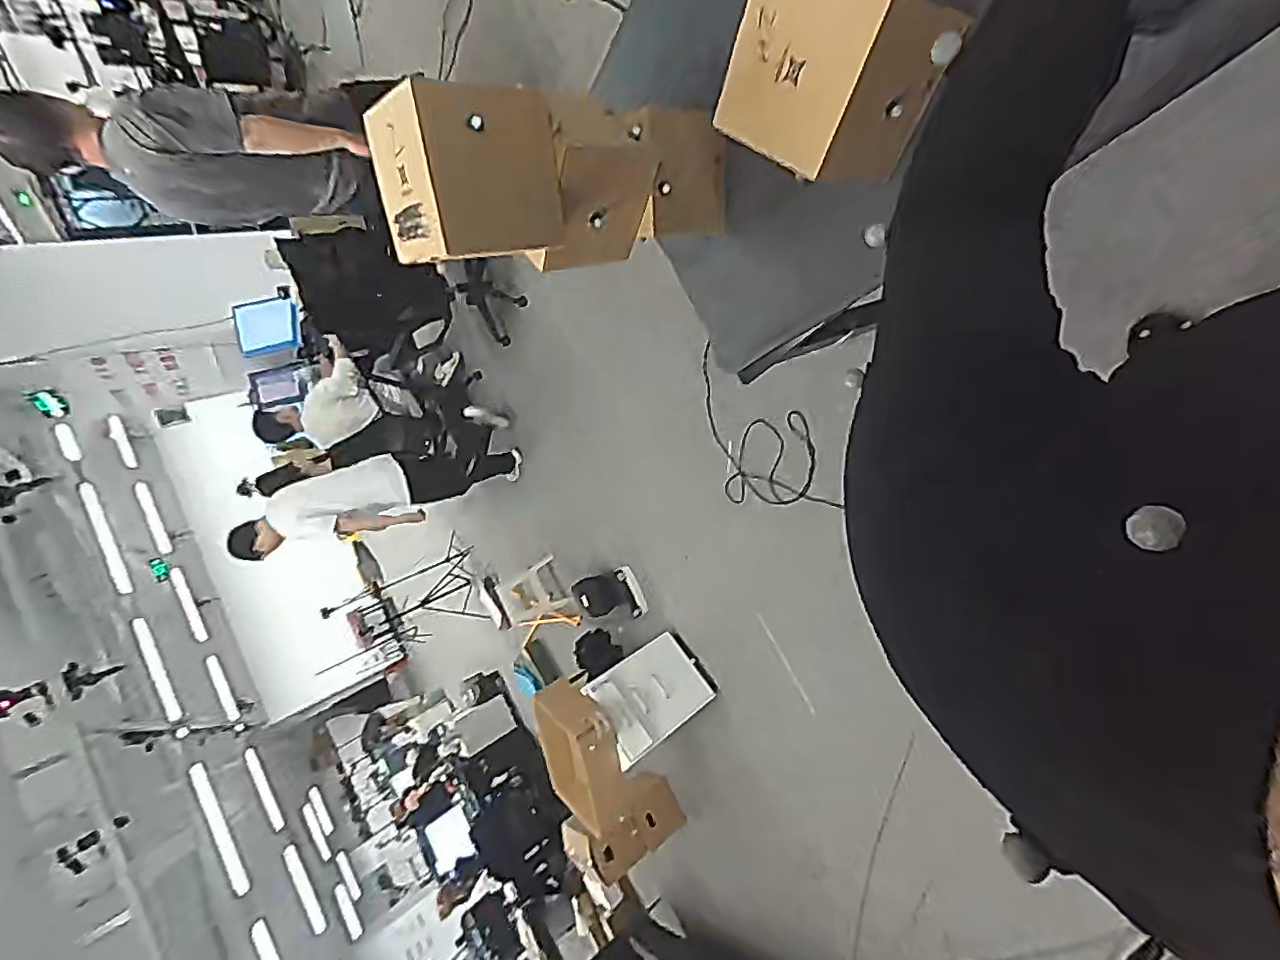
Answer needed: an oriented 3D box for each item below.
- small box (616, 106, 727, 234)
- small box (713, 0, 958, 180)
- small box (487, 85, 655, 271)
[{"bbox_3d":[0.020,-0.500,0.888,0.179,0.176,0.168,25,129,43],"label":"small box"},{"bbox_3d":[0.223,-0.474,0.631,0.179,0.176,0.168,47,140,26],"label":"small box"},{"bbox_3d":[-0.101,-0.441,0.794,0.168,0.176,0.179,50,143,20],"label":"small box"}]
